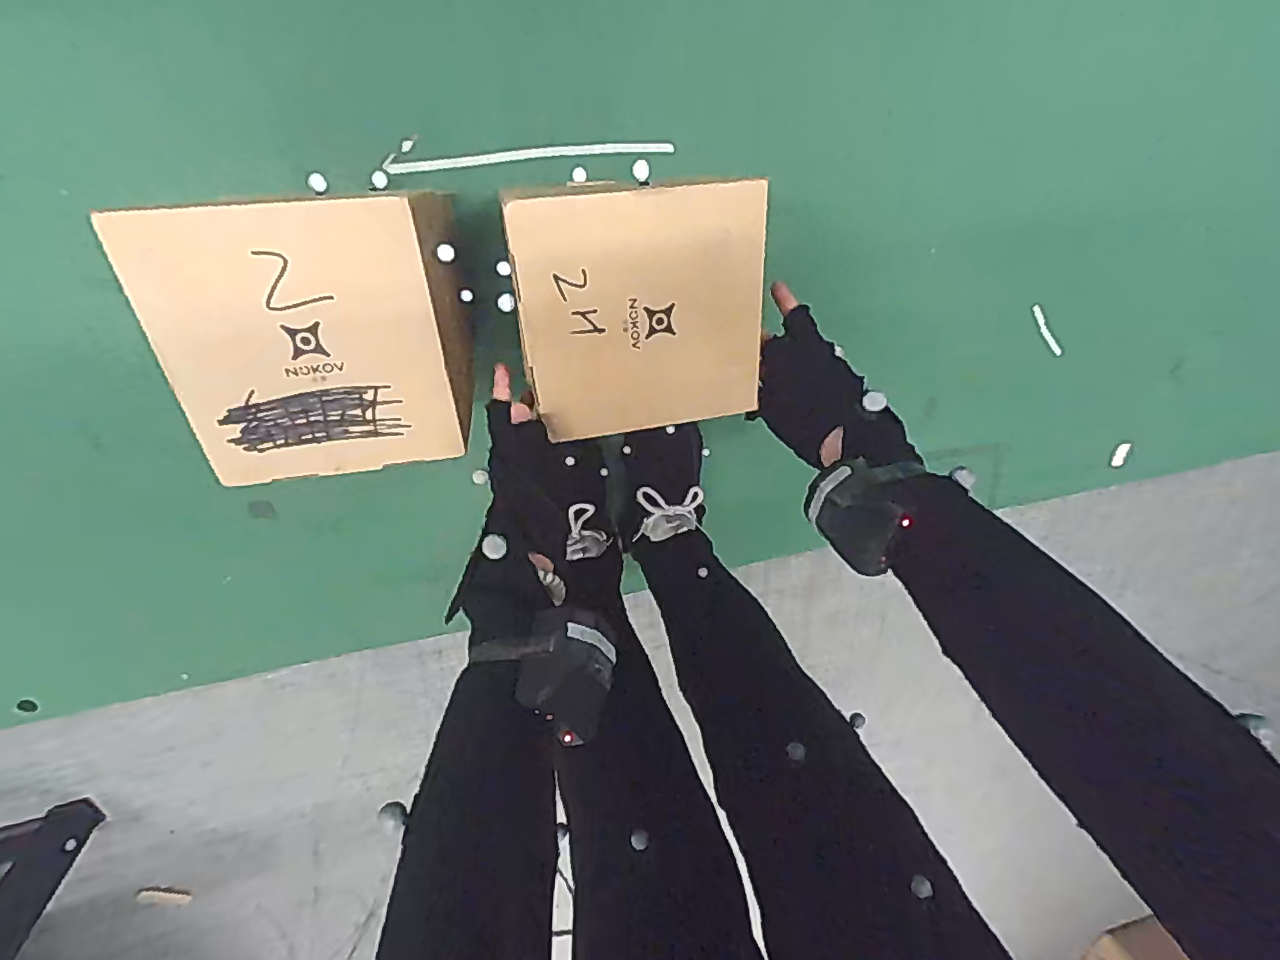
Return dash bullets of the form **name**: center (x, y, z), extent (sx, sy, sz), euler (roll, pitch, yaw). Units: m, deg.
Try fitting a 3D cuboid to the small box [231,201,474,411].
- **small box**: center (-0.272, -0.188, 0.564), extent (0.168, 0.176, 0.179), euler (-7, 120, -11)
